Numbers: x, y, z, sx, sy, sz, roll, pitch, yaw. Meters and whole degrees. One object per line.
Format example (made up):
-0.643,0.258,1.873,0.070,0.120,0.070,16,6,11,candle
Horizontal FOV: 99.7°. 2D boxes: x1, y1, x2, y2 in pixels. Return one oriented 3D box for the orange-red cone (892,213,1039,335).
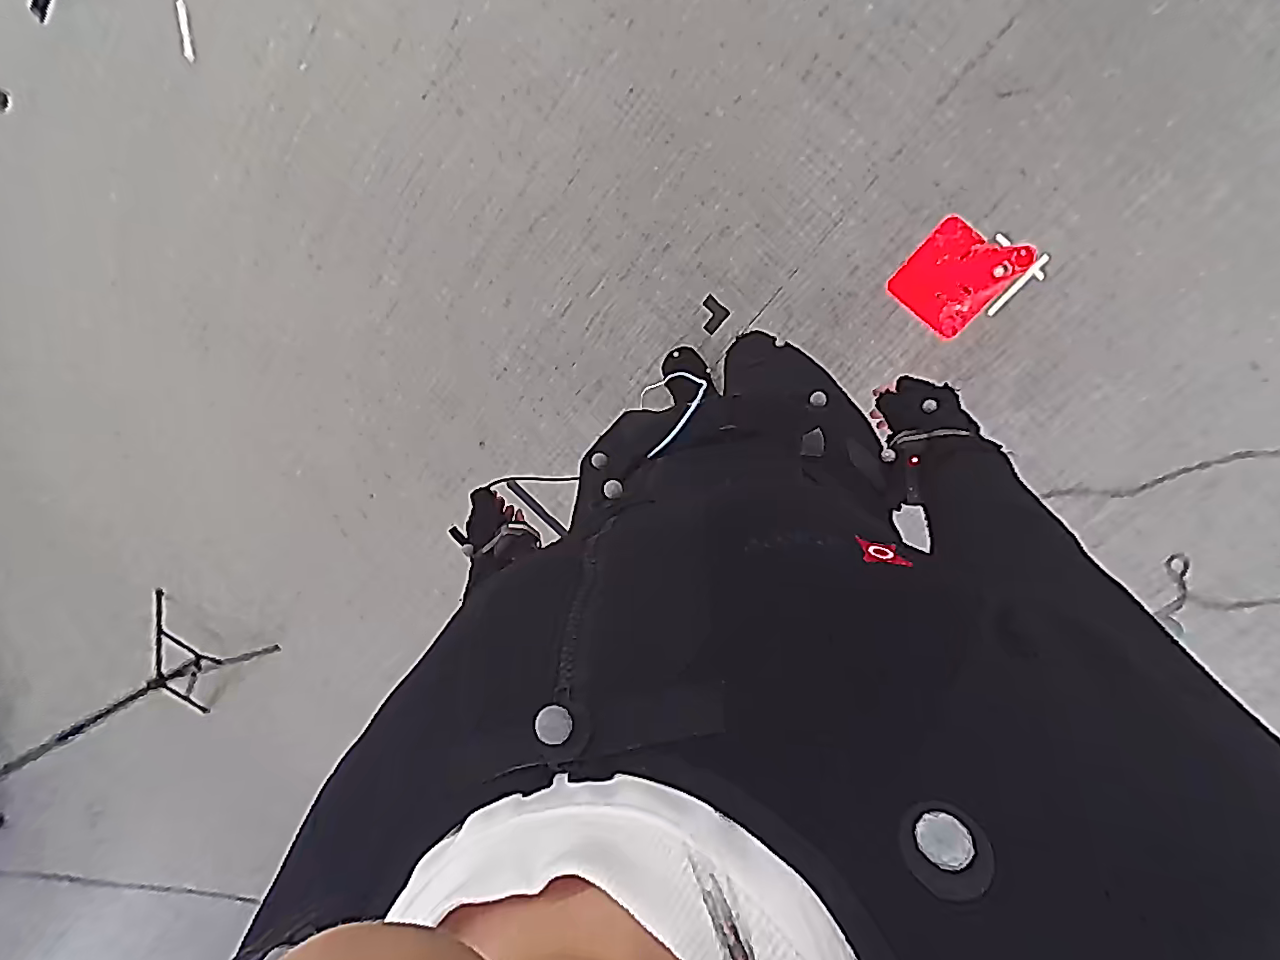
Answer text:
0.654,-0.411,1.032,0.199,0.360,0.198,42,108,0,orange-red cone
